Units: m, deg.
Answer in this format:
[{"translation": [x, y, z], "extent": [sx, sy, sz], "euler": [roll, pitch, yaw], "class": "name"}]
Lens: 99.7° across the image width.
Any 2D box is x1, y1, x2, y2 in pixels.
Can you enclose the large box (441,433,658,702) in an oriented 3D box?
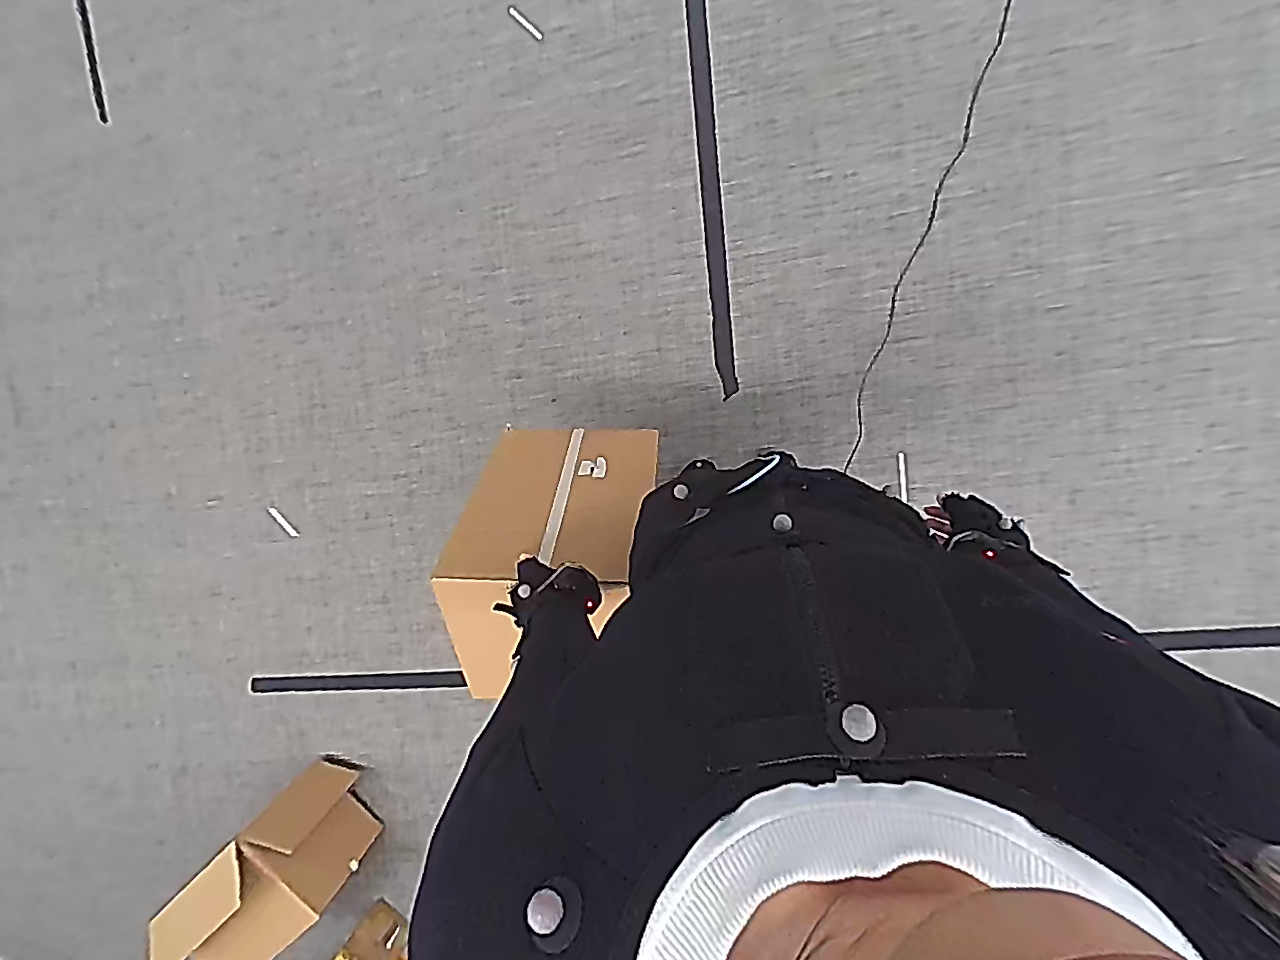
[{"translation": [-0.125, 0.150, 1.007], "extent": [0.320, 0.408, 0.320], "euler": [2, 126, 2], "class": "large box"}]
